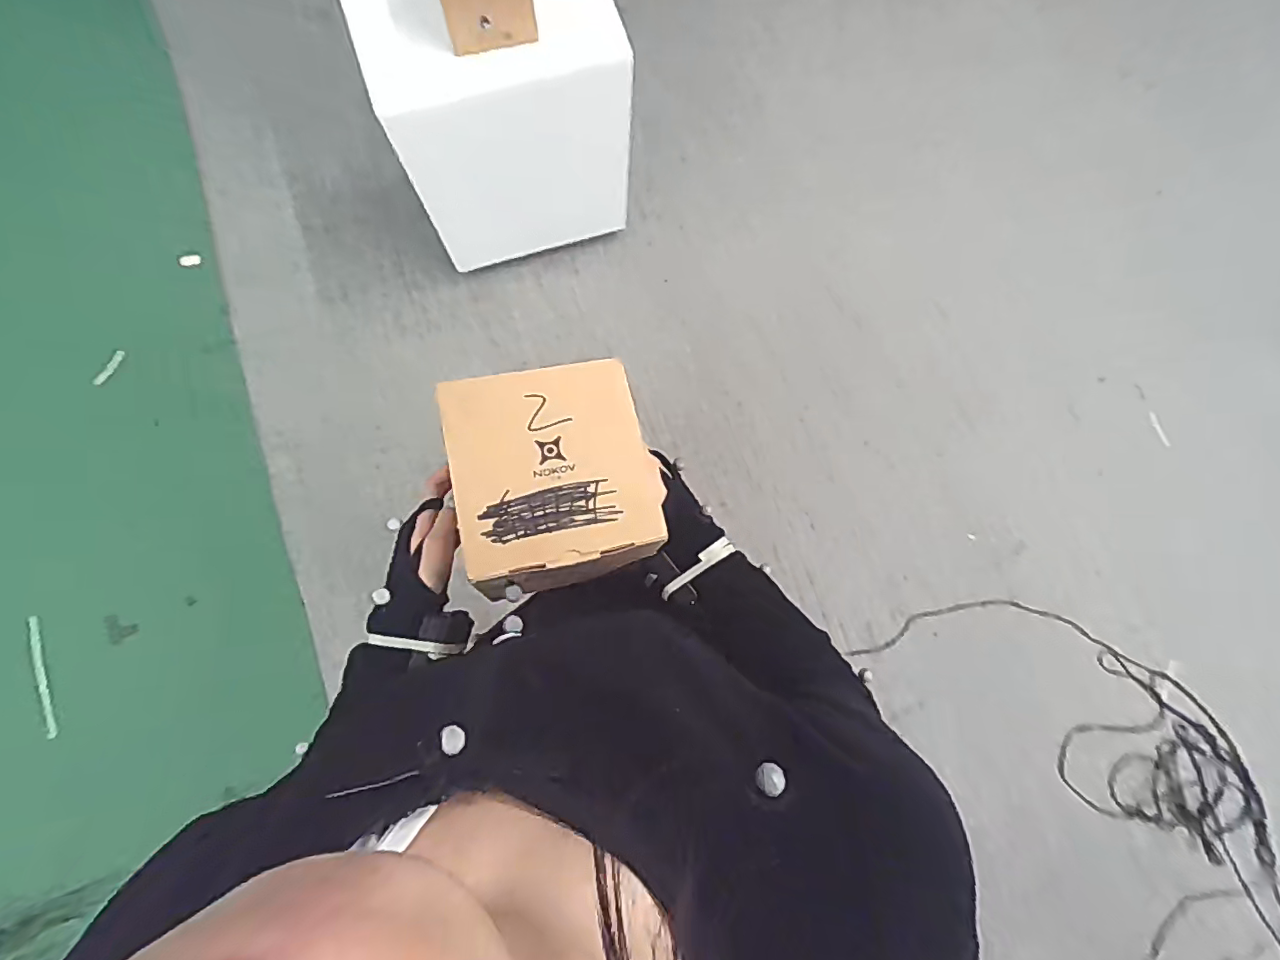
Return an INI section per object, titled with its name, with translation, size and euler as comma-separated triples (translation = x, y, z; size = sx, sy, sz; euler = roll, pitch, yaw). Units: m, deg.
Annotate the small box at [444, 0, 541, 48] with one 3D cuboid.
[small box]
translation = -0.284, -0.930, 0.963
size = 0.168, 0.176, 0.179
euler = -16, 83, -5
